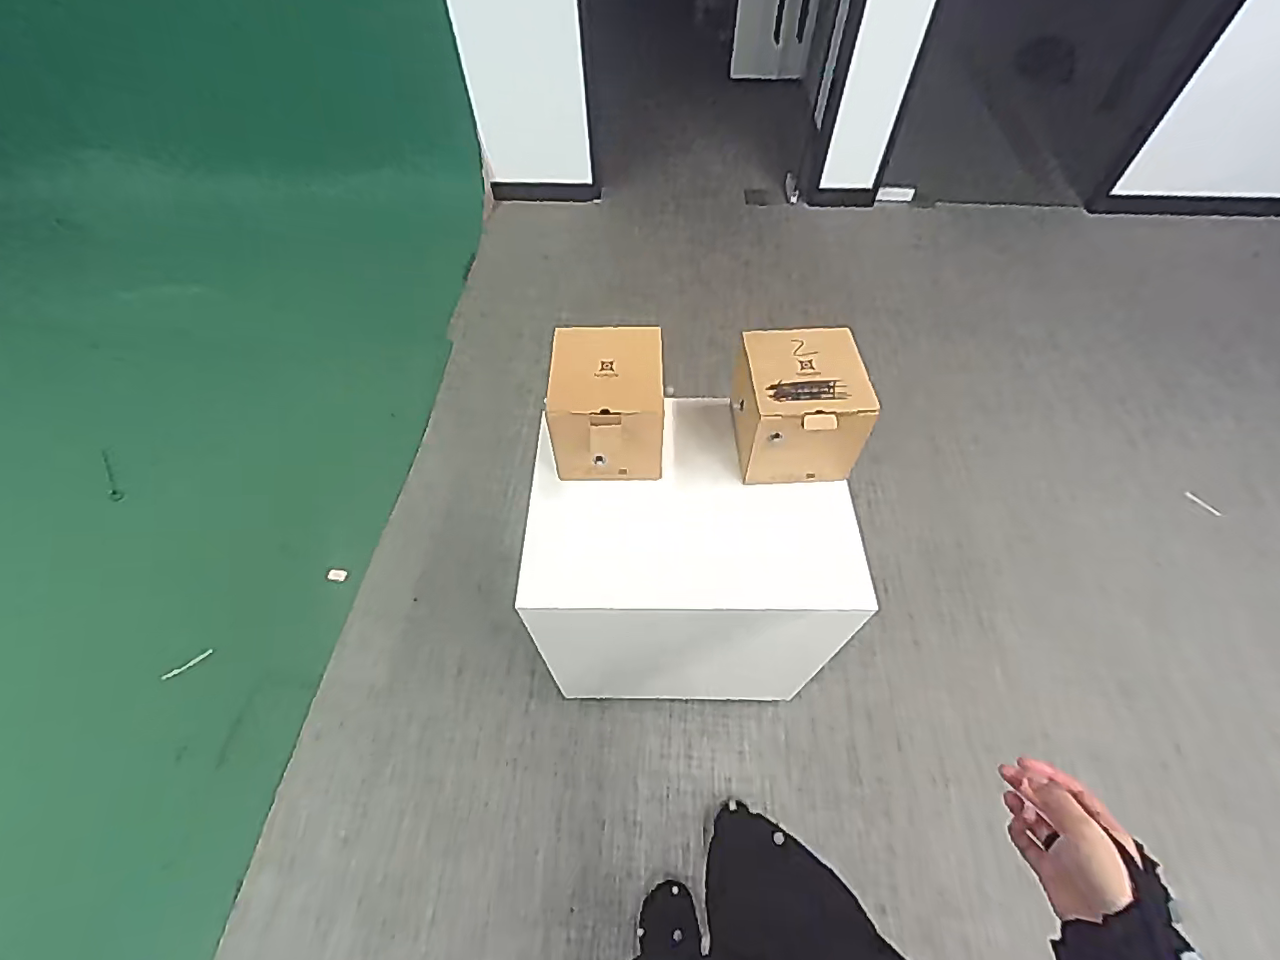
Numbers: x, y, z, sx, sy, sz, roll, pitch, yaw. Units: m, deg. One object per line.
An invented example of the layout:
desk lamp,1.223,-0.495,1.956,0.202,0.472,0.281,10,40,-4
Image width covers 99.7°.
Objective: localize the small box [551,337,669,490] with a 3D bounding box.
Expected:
small box,-0.041,-0.103,0.854,0.168,0.176,0.179,0,57,0
